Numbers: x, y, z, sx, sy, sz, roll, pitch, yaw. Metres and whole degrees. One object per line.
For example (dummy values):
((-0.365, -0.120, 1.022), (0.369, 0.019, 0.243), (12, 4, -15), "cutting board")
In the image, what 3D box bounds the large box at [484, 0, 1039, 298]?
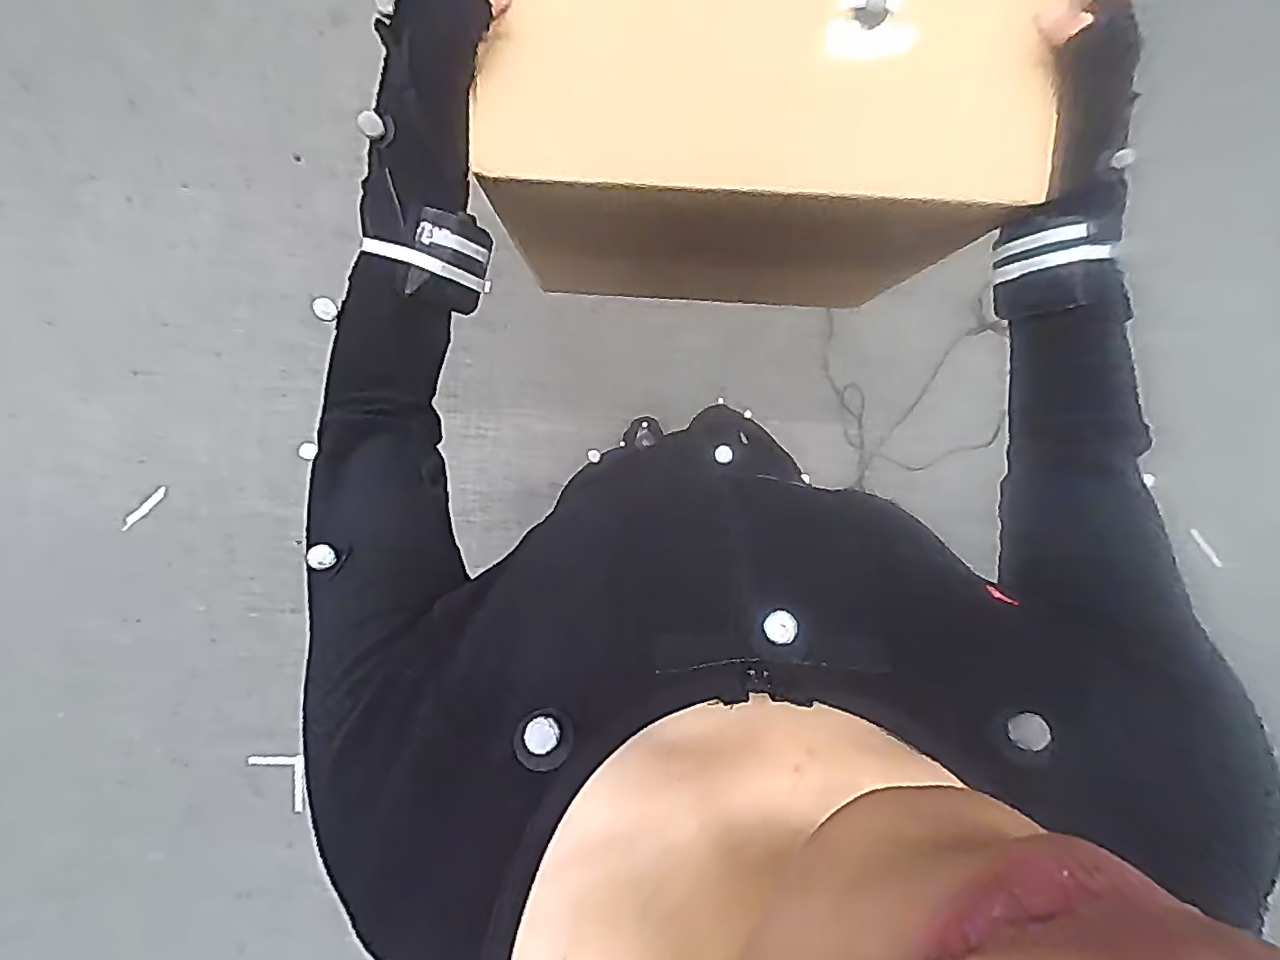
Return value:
((0.083, -0.377, 0.530), (0.408, 0.320, 0.320), (2, 94, -2), "large box")
